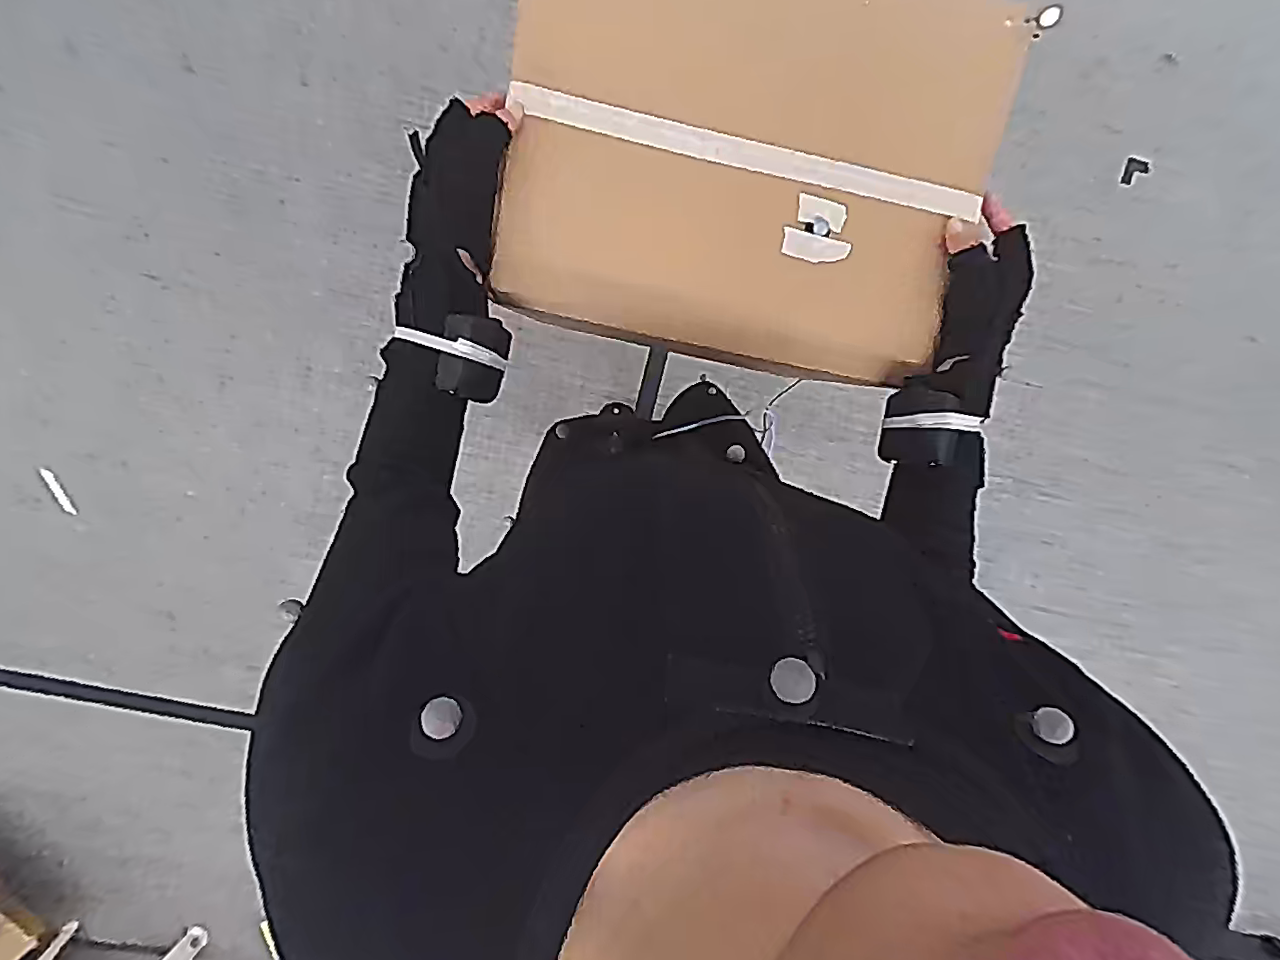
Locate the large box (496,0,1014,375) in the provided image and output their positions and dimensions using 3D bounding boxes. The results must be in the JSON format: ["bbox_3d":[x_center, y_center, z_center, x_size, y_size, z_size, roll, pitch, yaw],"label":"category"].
[{"bbox_3d":[0.083,-0.311,0.609,0.408,0.320,0.320,11,103,-6],"label":"large box"}]
